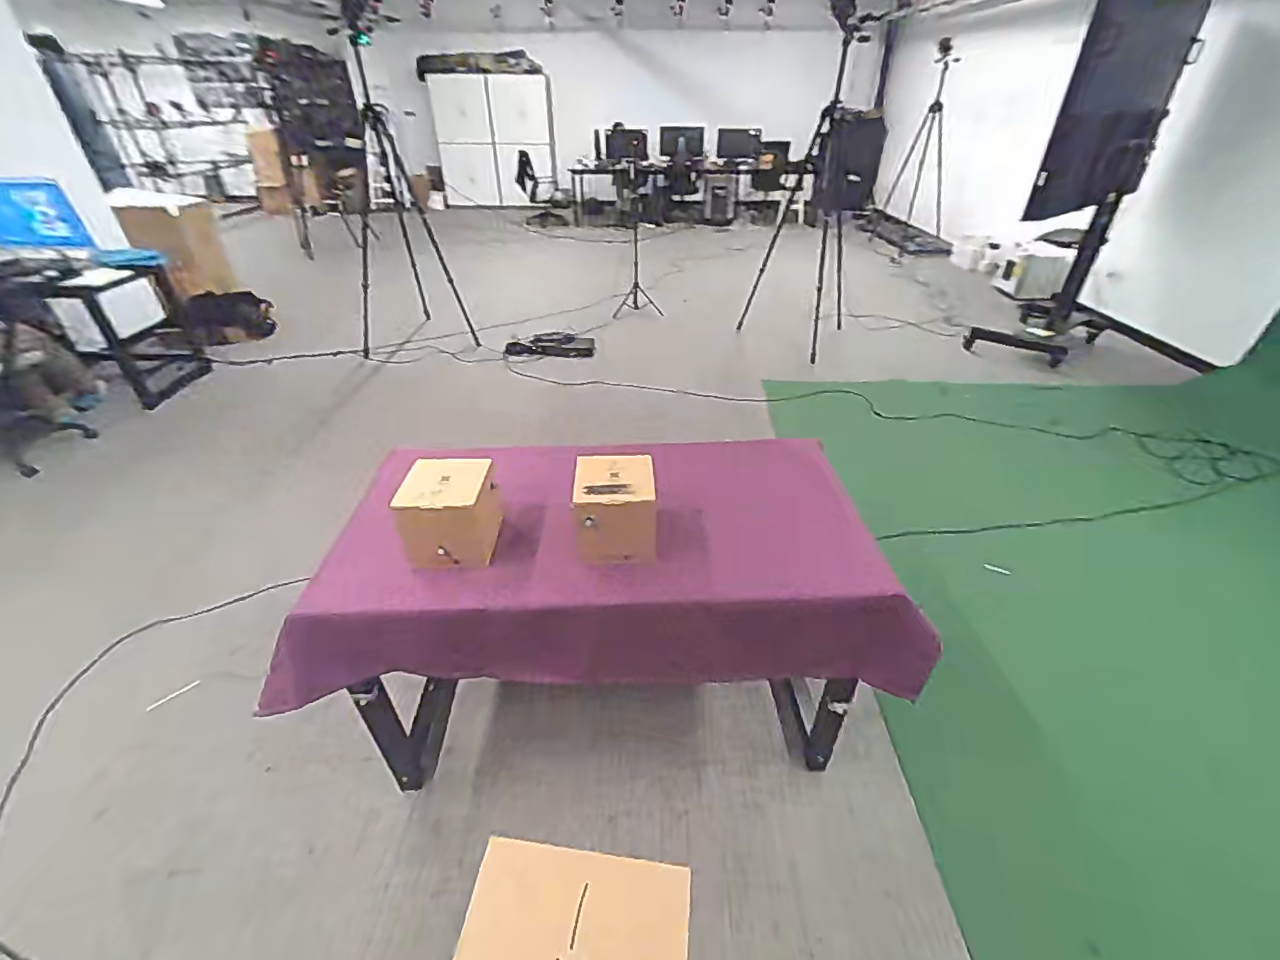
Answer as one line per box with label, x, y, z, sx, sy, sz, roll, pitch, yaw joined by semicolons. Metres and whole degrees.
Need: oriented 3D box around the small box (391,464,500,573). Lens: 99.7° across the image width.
small box;-0.406;0.081;1.164;0.168;0.176;0.179;-1;34;0
